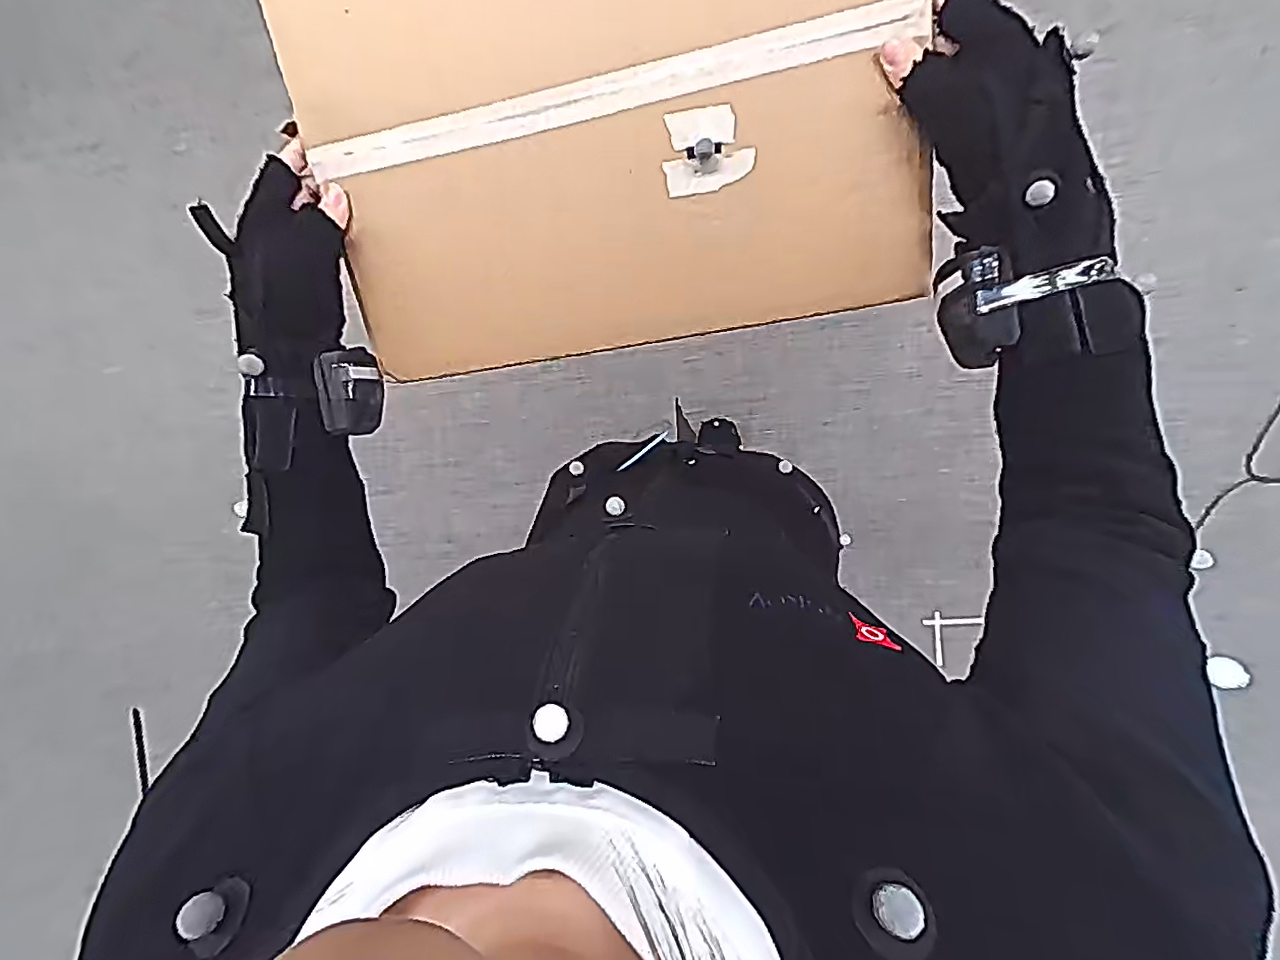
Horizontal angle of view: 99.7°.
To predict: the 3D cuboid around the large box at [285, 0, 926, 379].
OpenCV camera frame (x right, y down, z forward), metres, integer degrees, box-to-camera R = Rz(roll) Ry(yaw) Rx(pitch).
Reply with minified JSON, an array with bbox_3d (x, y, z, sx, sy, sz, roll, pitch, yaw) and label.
[{"bbox_3d":[-0.010,-0.301,0.499,0.408,0.320,0.320,-8,109,9],"label":"large box"}]
